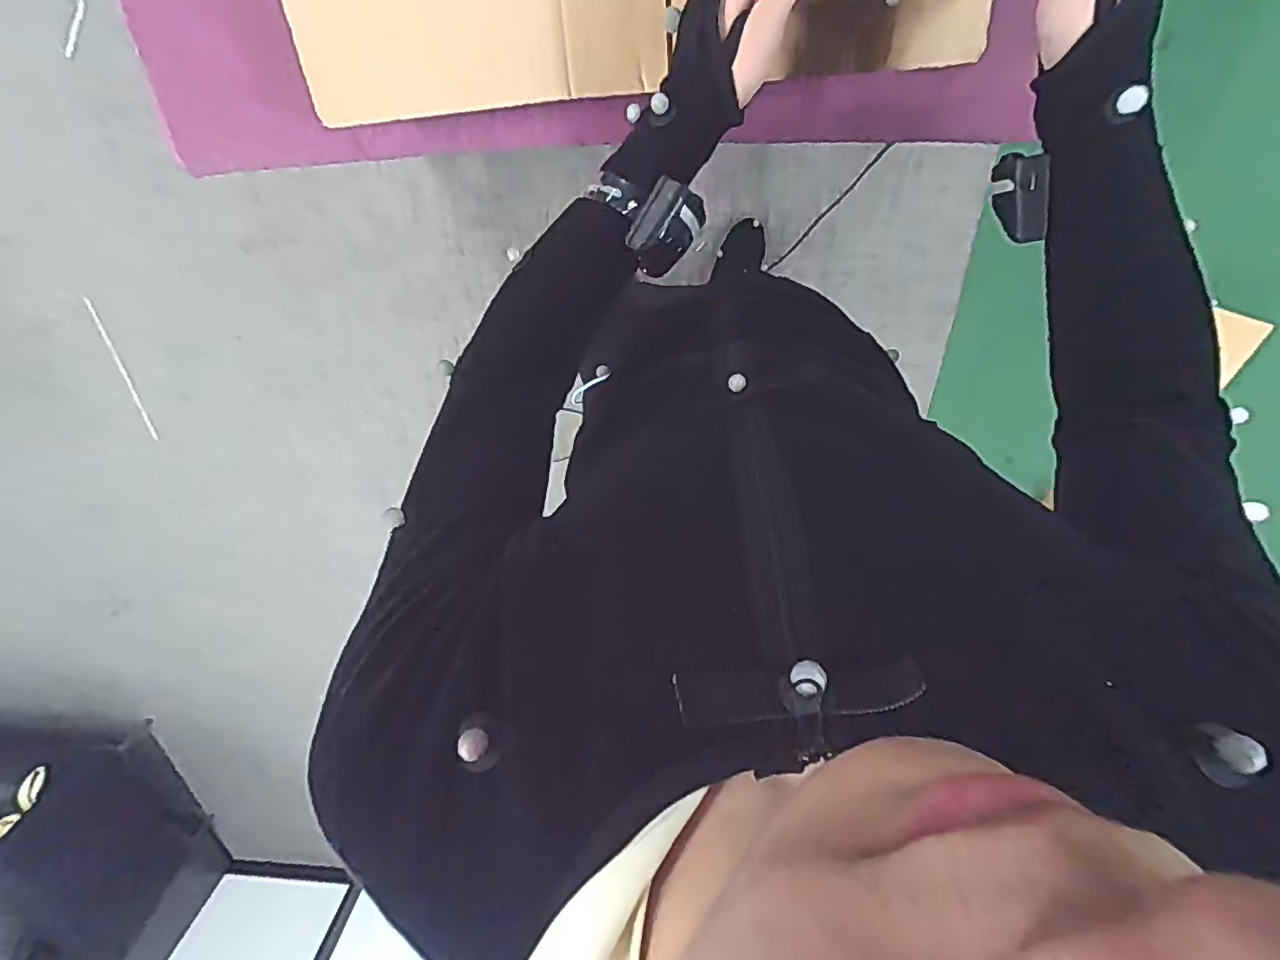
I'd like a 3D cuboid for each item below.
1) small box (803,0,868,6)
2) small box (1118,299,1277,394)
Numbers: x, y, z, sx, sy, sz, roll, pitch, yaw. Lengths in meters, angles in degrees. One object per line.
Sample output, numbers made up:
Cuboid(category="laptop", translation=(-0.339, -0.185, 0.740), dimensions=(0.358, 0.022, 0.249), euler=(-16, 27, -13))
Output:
Cuboid(category="small box", translation=(0.205, -0.467, 0.370), dimensions=(0.168, 0.176, 0.179), euler=(-2, 119, 4))
Cuboid(category="small box", translation=(1.368, -0.338, 1.343), dimensions=(0.179, 0.176, 0.168), euler=(16, 119, -1))
